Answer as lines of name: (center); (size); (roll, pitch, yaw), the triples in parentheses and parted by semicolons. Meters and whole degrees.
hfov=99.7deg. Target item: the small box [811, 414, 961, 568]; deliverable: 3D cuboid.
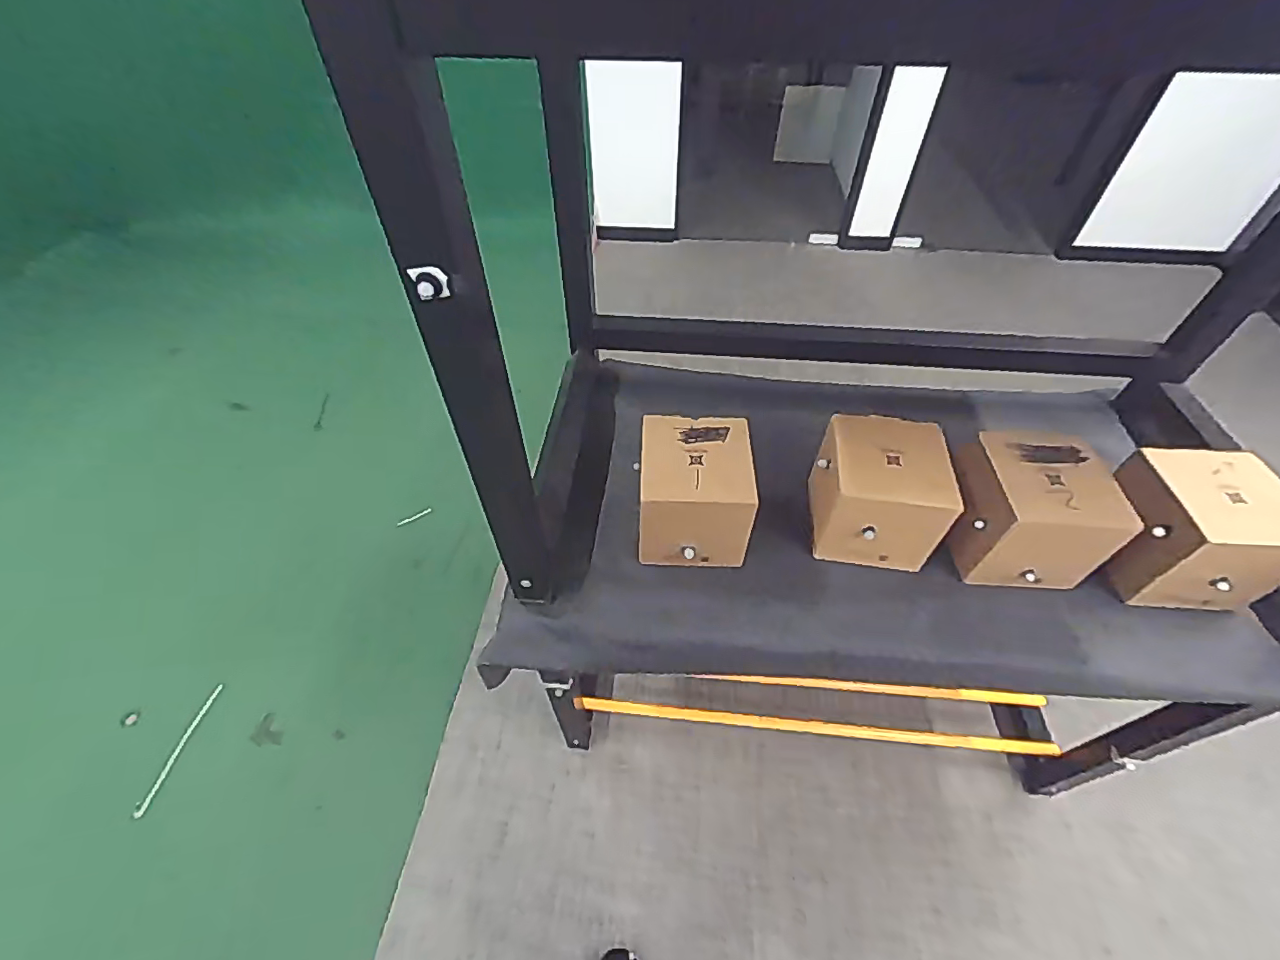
small box: (0.376, 0.020, 0.862); (0.168, 0.176, 0.179); (7, 49, 6)

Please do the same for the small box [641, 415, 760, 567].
small box: (0.087, 0.018, 0.862); (0.168, 0.176, 0.179); (1, 50, 1)

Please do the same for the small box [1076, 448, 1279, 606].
small box: (0.818, 0.073, 0.810); (0.168, 0.176, 0.179); (3, 49, 2)
